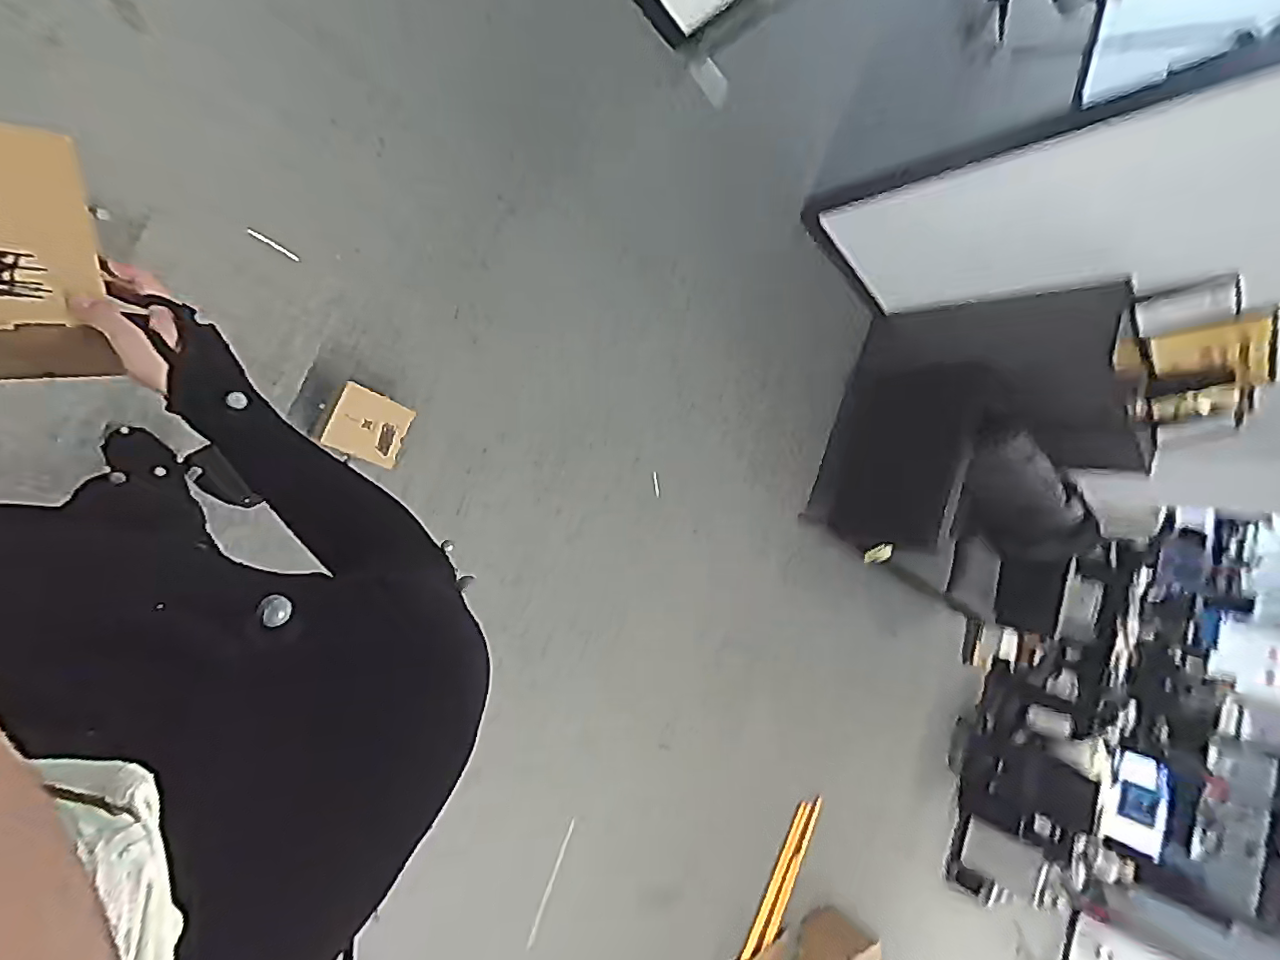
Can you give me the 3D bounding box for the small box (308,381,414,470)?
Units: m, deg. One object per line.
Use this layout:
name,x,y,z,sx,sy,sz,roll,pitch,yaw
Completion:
small box,-0.722,-0.142,1.396,0.179,0.176,0.168,29,77,-37

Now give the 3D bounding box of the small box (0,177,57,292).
small box,-1.200,-0.461,0.964,0.168,0.176,0.179,29,78,-38
